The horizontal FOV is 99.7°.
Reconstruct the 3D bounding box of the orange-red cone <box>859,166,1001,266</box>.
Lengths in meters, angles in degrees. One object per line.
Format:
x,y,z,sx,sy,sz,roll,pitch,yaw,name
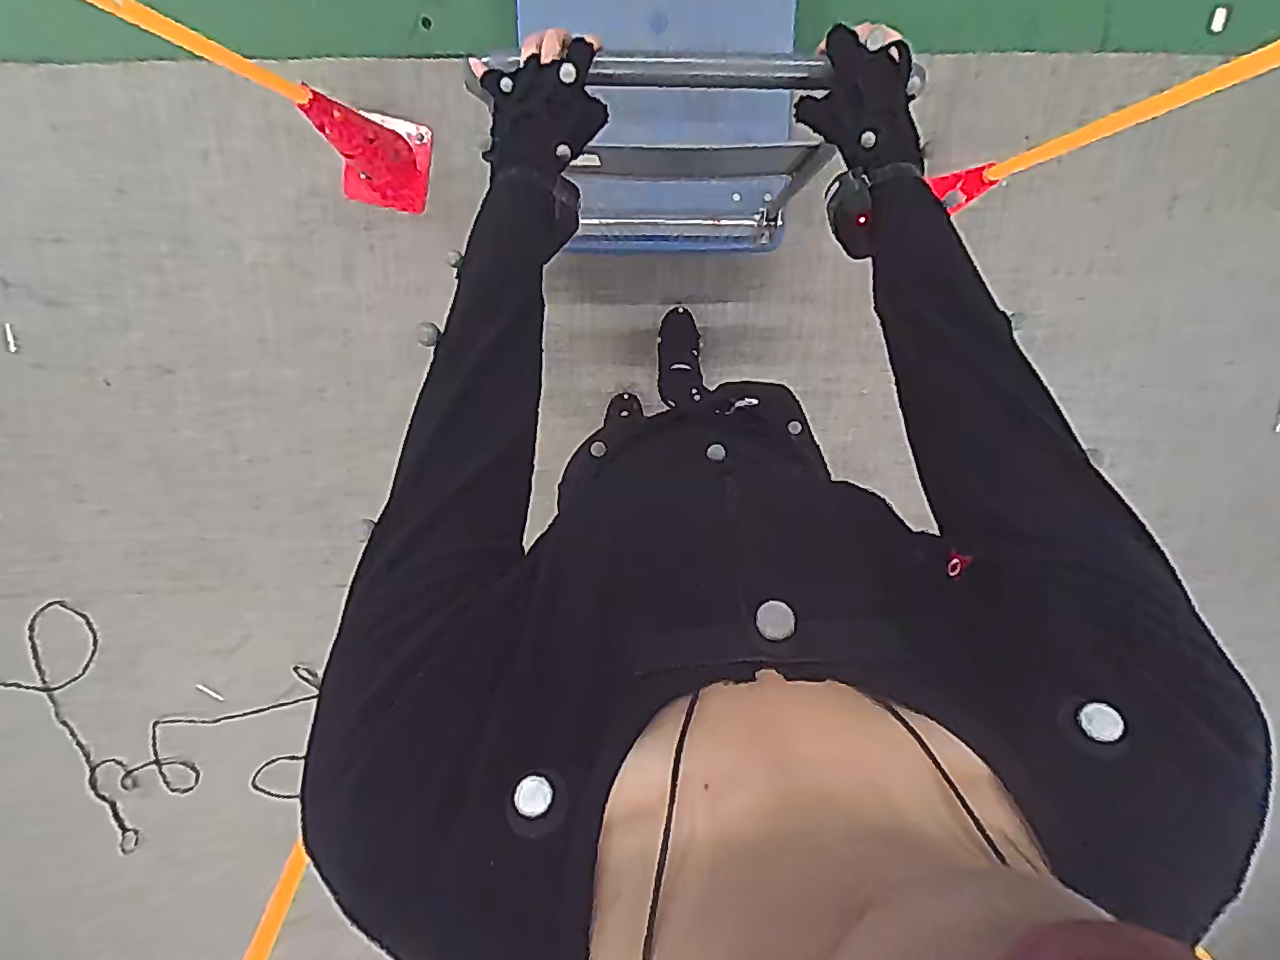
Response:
0.673,-0.622,1.207,0.198,0.360,0.199,10,103,-3,orange-red cone
